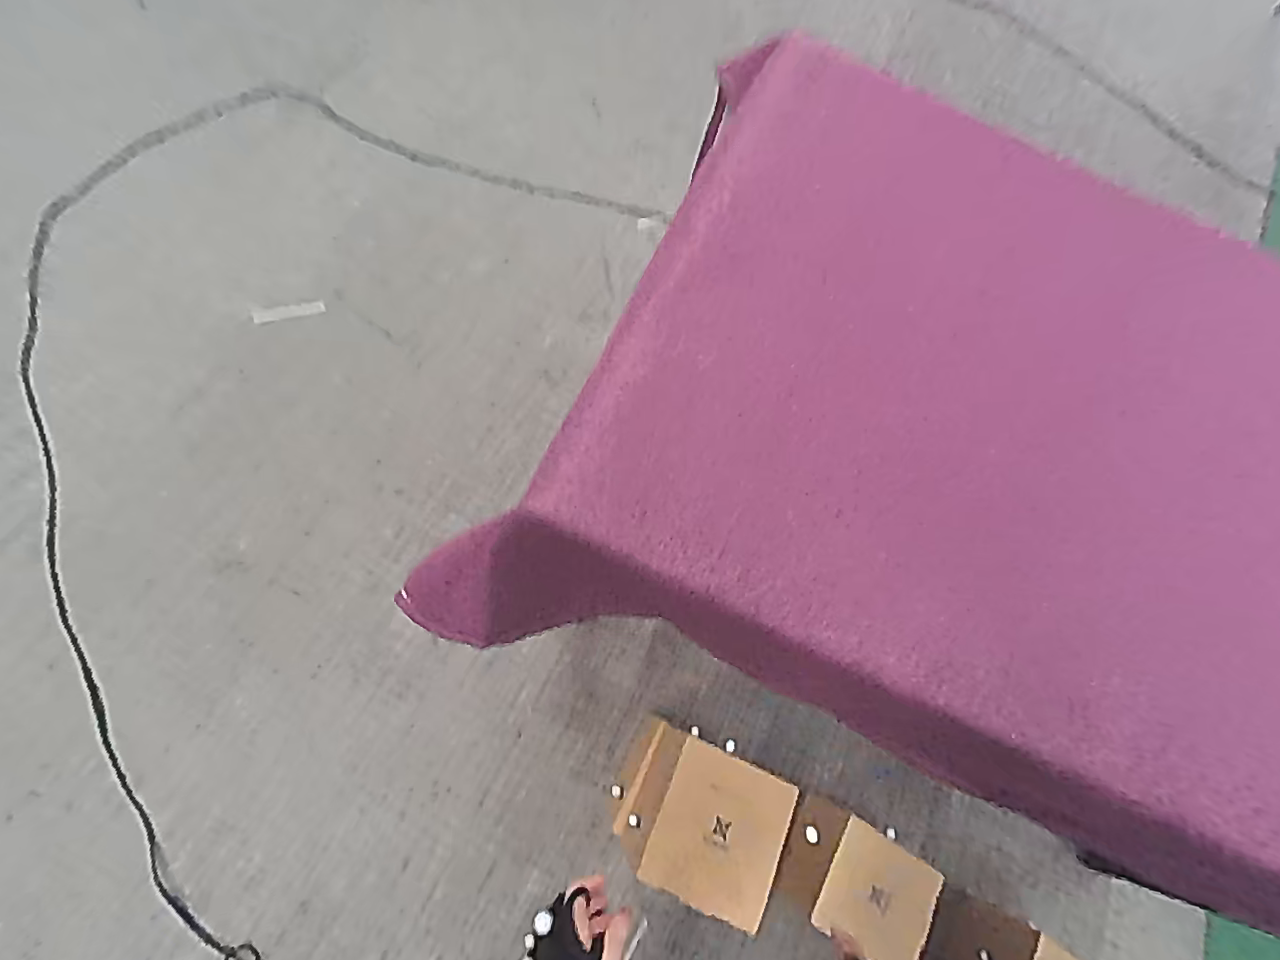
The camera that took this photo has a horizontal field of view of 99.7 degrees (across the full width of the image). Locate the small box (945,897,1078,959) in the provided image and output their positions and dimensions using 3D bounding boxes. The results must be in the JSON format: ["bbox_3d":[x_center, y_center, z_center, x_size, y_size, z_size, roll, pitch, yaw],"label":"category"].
[{"bbox_3d":[0.631,0.844,0.883,0.168,0.176,0.179,36,69,5],"label":"small box"}]
